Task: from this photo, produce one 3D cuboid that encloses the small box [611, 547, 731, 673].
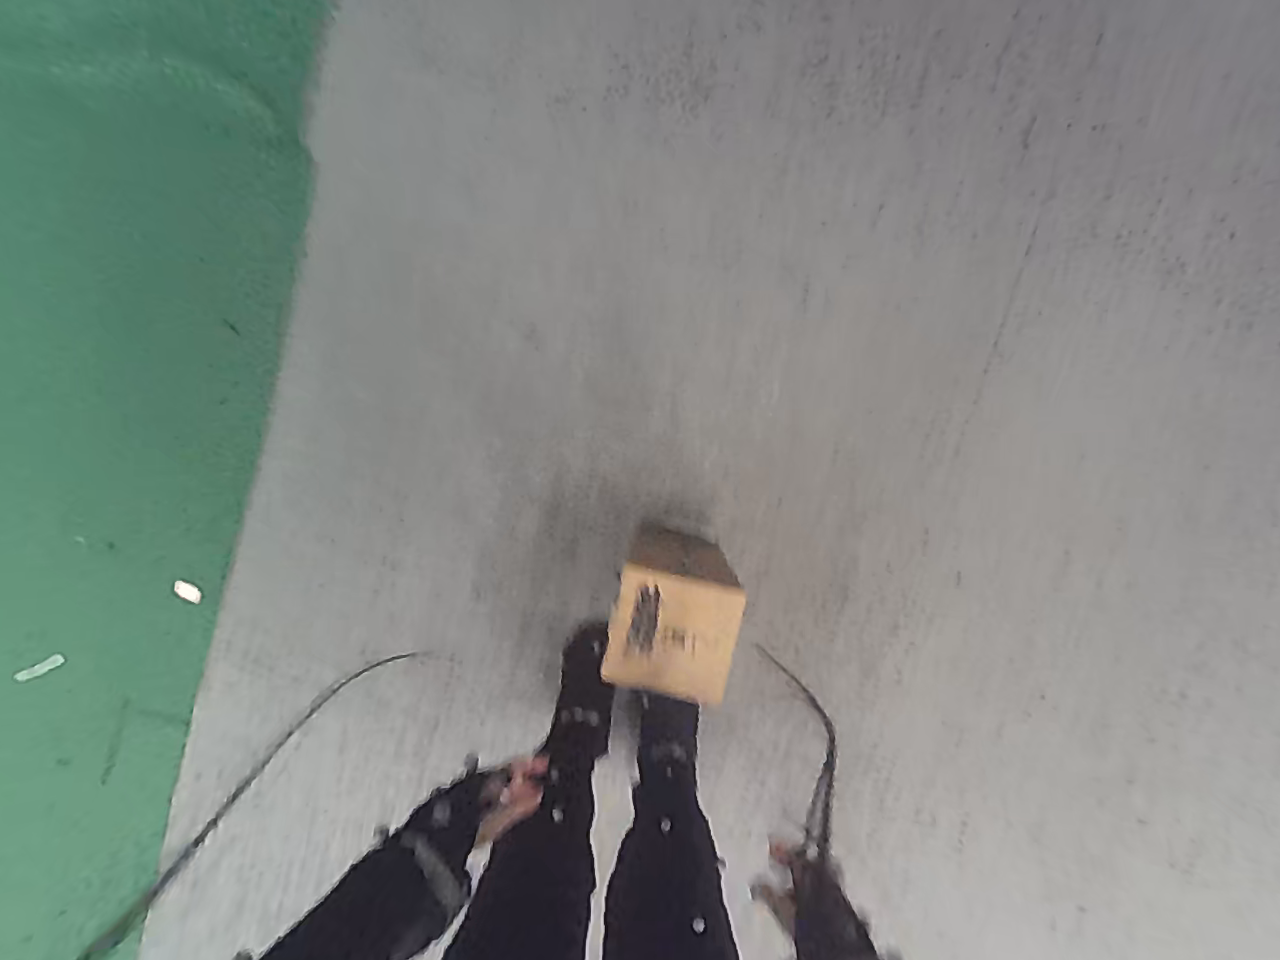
[{"bbox_3d":[0.055,0.229,0.996,0.179,0.176,0.168,12,92,2],"label":"small box"}]
